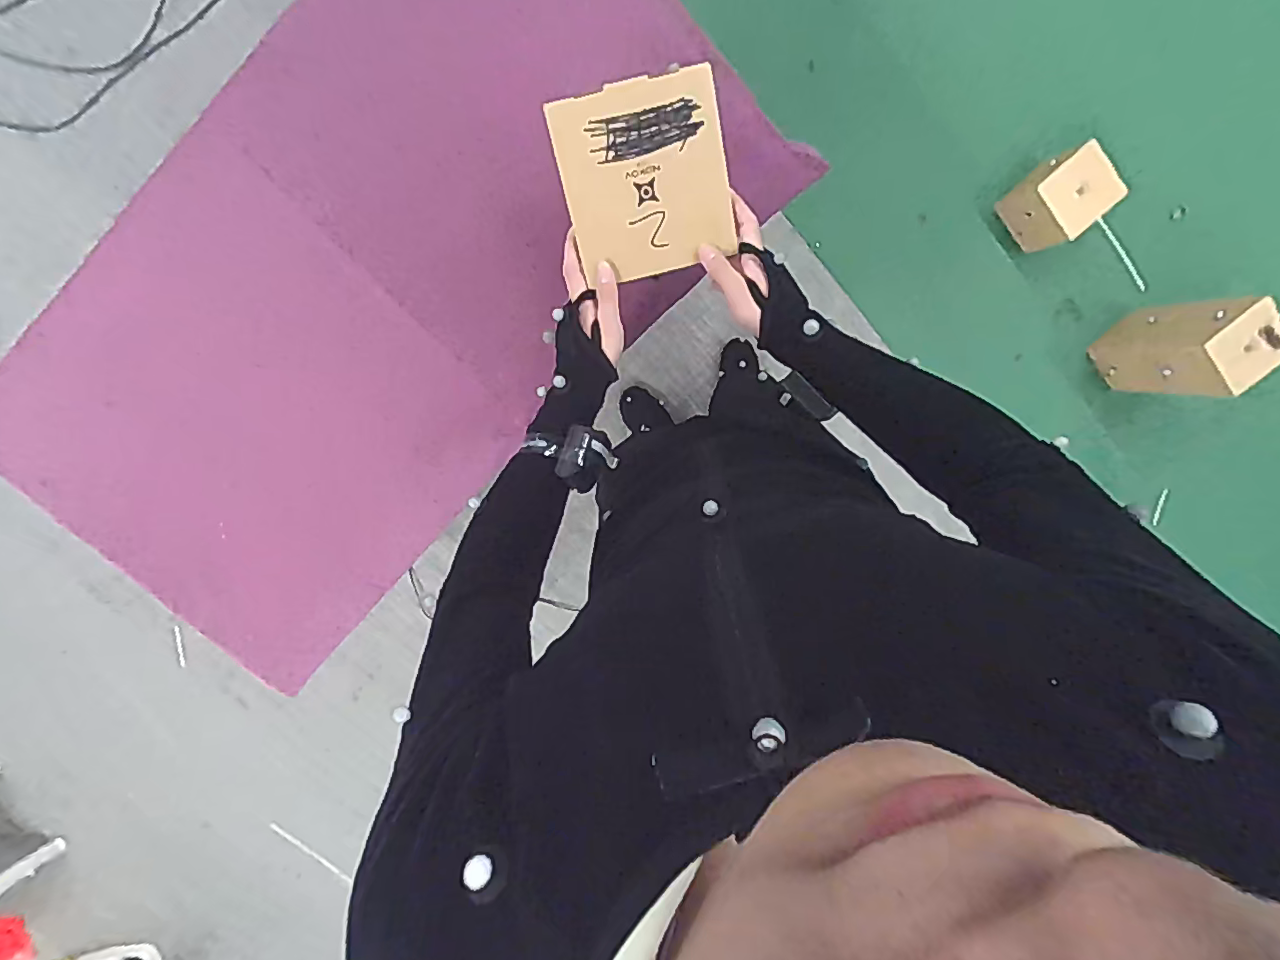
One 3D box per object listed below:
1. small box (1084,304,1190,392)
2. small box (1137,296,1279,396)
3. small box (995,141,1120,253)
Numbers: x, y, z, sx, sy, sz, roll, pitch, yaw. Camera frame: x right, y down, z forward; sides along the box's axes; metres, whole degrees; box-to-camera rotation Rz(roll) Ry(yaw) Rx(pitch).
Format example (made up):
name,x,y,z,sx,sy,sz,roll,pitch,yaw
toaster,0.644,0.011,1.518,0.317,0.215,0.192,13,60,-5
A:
name,x,y,z,sx,sy,sz,roll,pitch,yaw
small box,1.417,-0.367,1.515,0.179,0.176,0.168,-41,100,6
small box,1.426,-0.333,1.355,0.179,0.176,0.168,-41,100,6
small box,1.085,-0.734,1.428,0.179,0.176,0.168,-42,100,5
